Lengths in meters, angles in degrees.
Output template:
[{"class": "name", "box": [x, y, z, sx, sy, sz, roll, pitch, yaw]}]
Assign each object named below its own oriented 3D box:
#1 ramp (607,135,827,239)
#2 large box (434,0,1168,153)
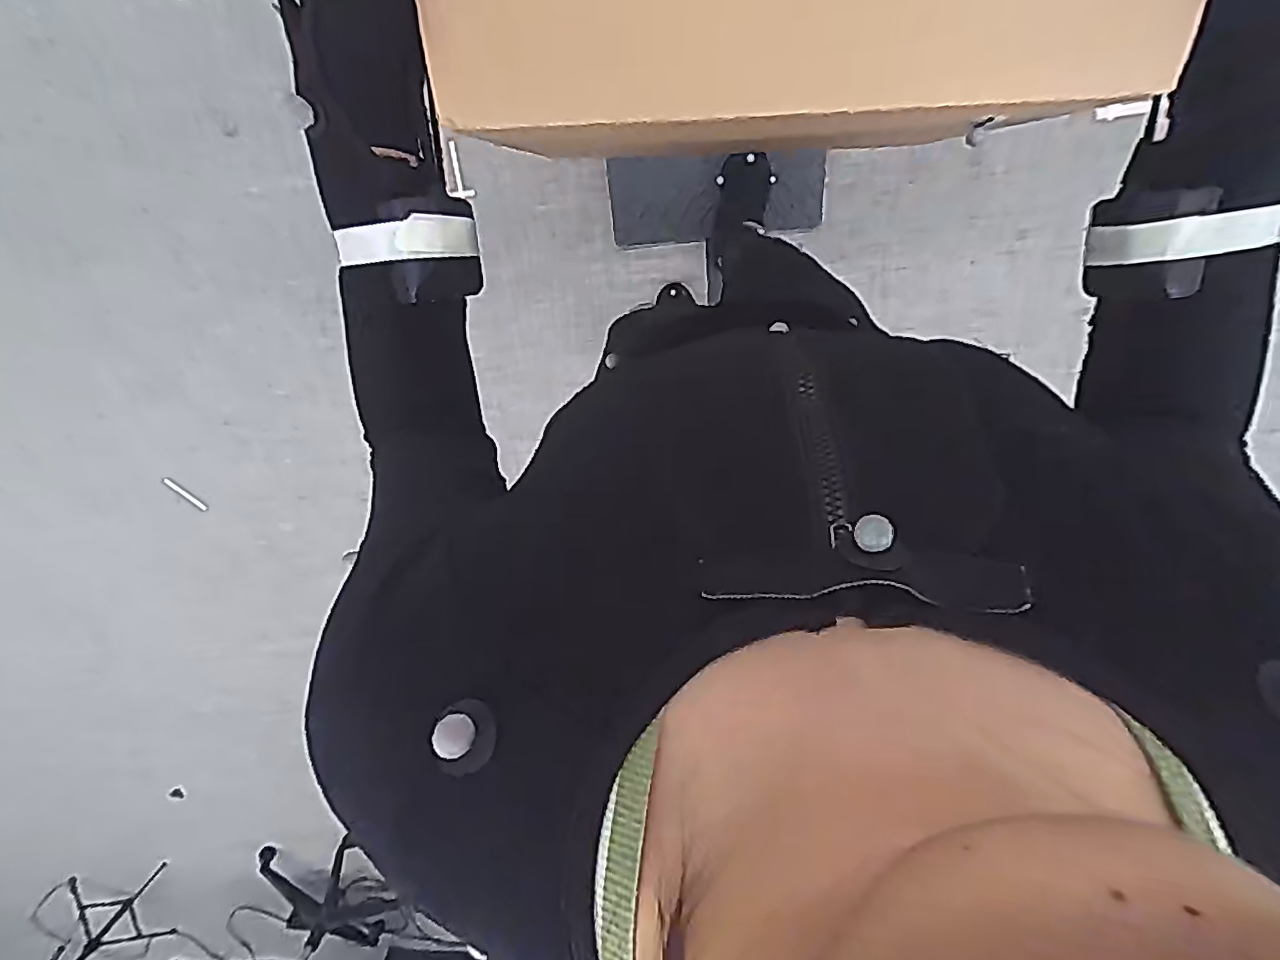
[{"class": "ramp", "box": [0.138, -1.023, 1.036, 0.509, 0.206, 0.991, -6, 112, 4]}, {"class": "large box", "box": [0.086, -0.423, 0.375, 0.408, 0.320, 0.320, -1, 117, 4]}]
